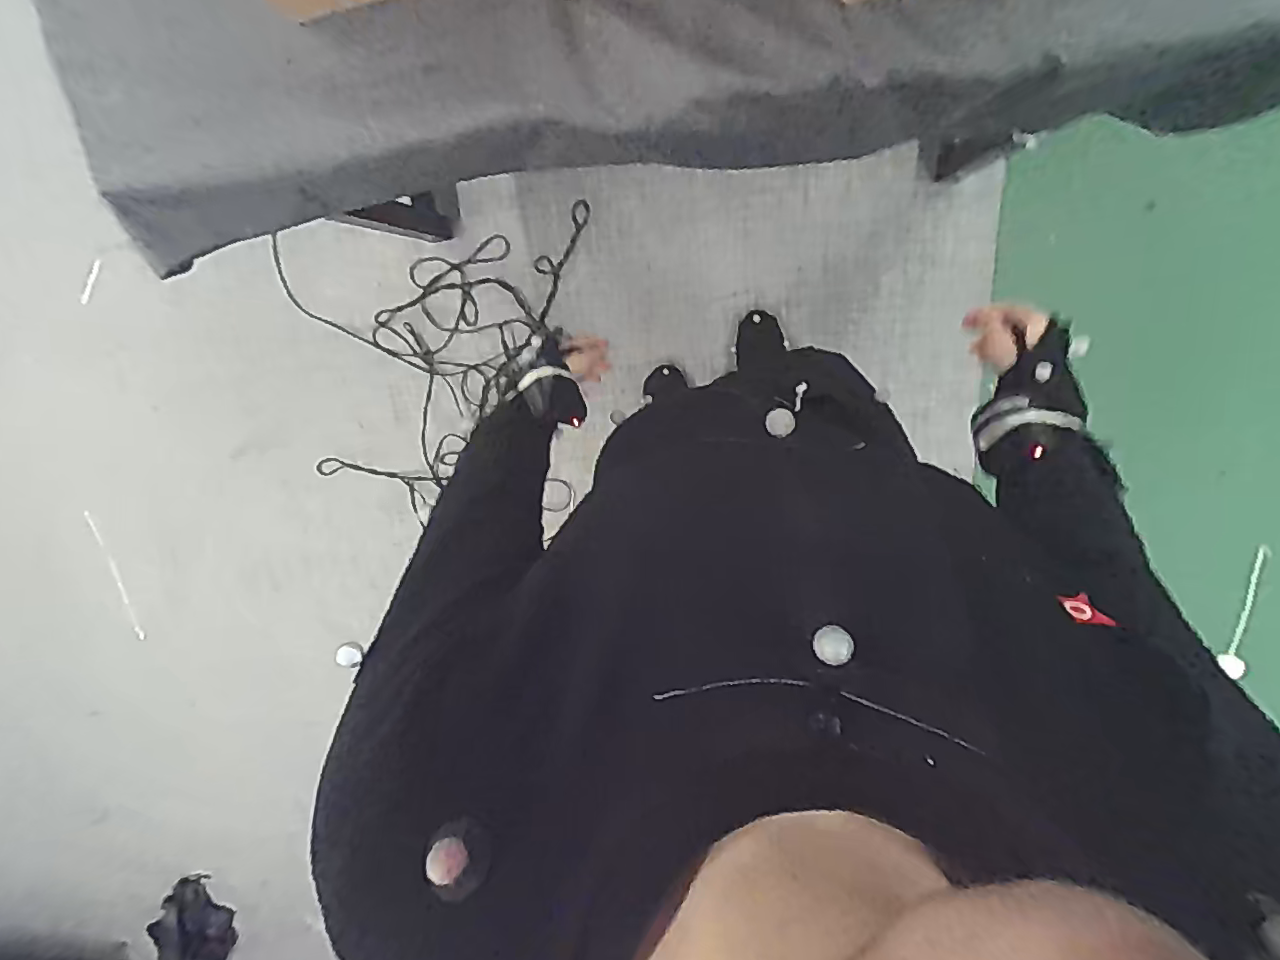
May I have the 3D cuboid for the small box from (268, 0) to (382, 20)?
[{"bbox_3d":[-0.276,-0.510,0.420,0.179,0.176,0.168,-6,105,11],"label":"small box"}]
